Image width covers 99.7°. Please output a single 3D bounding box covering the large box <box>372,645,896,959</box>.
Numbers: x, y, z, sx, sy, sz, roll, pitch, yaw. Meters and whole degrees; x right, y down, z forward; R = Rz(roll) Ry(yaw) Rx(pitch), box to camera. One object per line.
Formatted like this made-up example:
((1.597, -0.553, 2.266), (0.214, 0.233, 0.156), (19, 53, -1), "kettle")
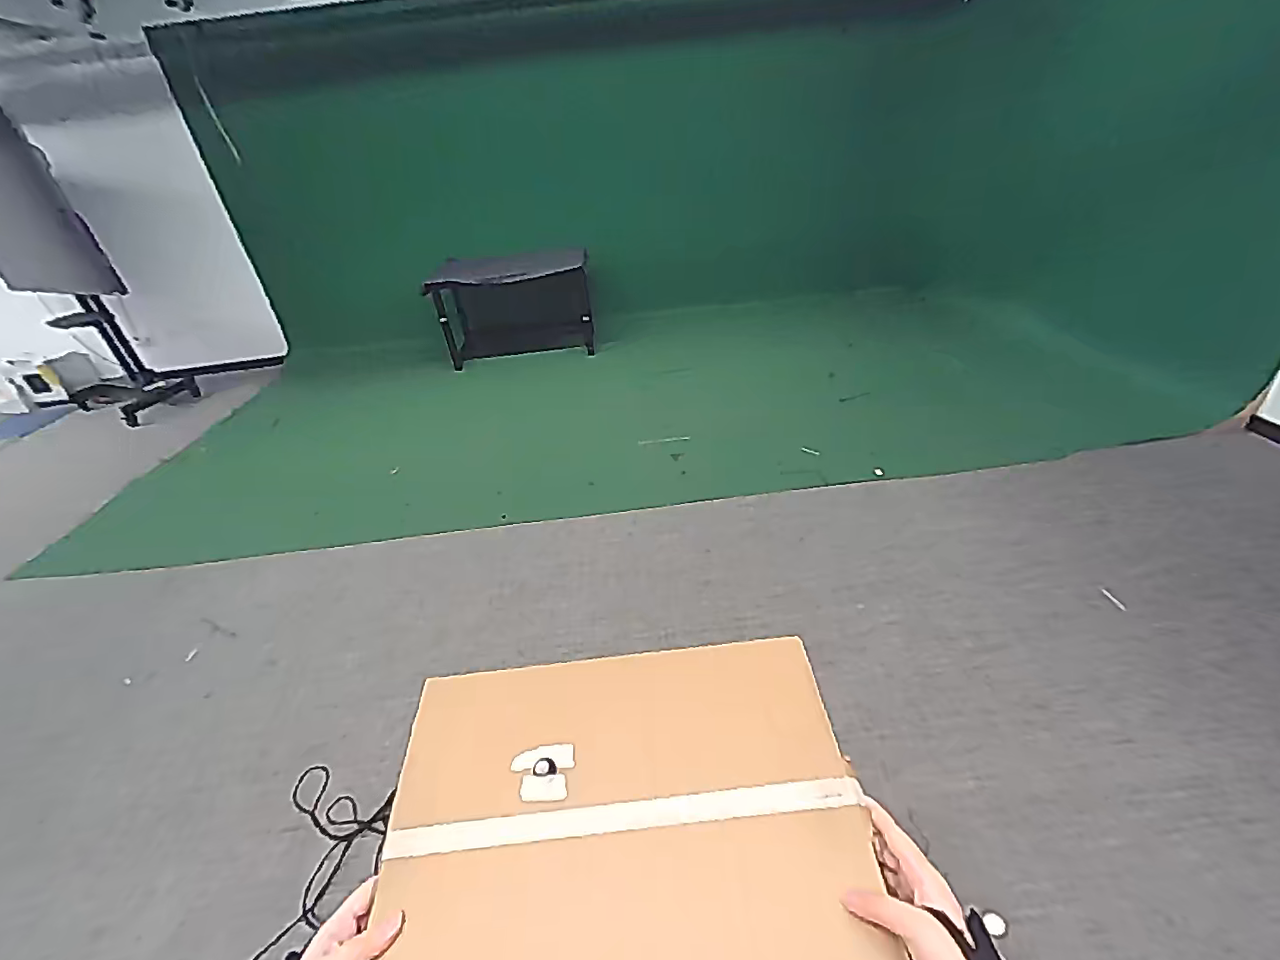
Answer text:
((0.000, 0.415, 0.570), (0.408, 0.320, 0.320), (-8, 41, 2), "large box")
